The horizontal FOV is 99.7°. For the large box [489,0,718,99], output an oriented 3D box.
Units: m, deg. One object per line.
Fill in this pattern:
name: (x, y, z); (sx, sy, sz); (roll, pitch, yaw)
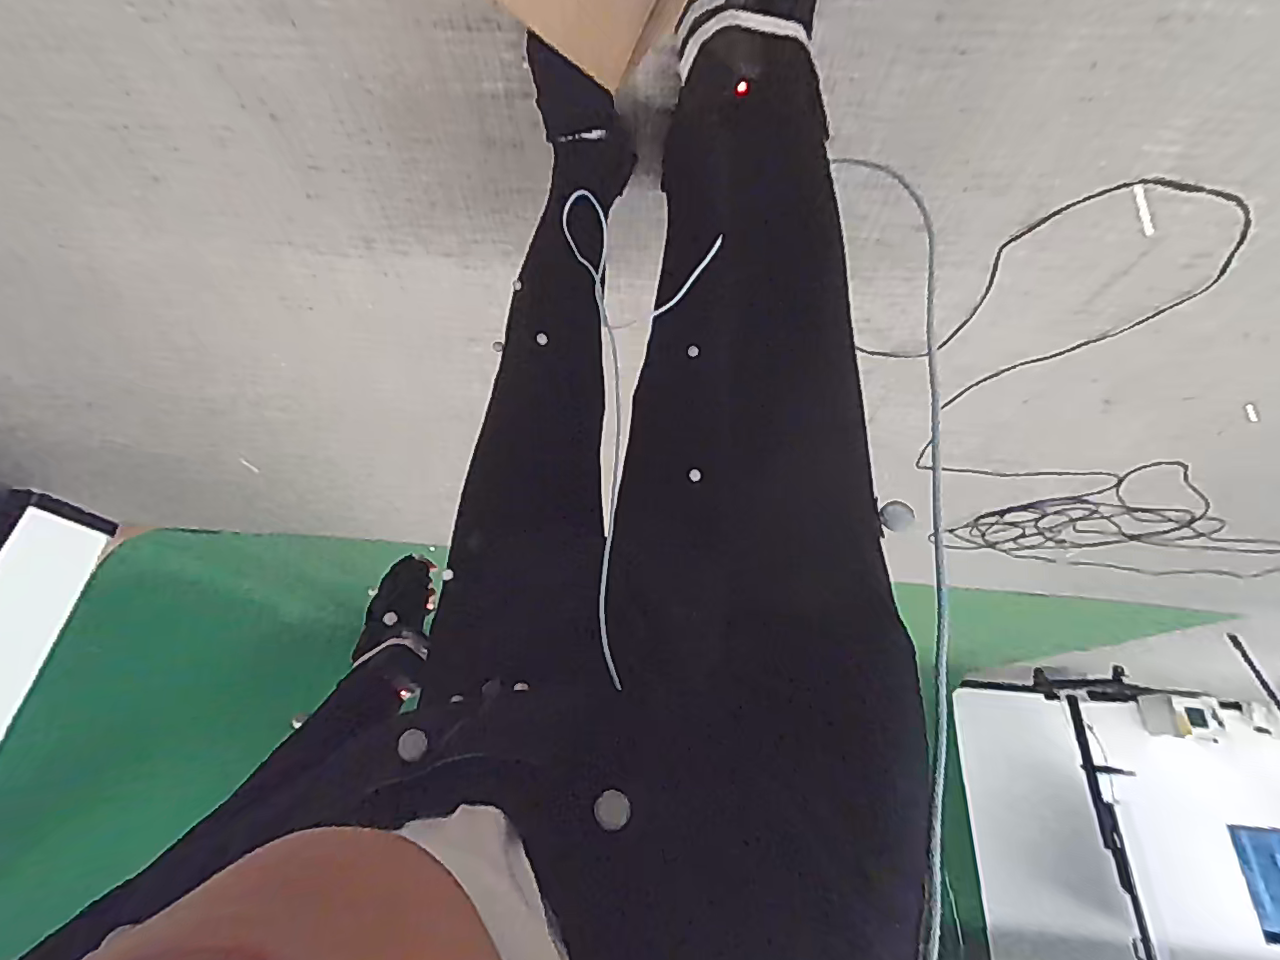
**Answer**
large box: (-0.058, -0.593, 0.381); (0.408, 0.320, 0.320); (31, 143, -14)
